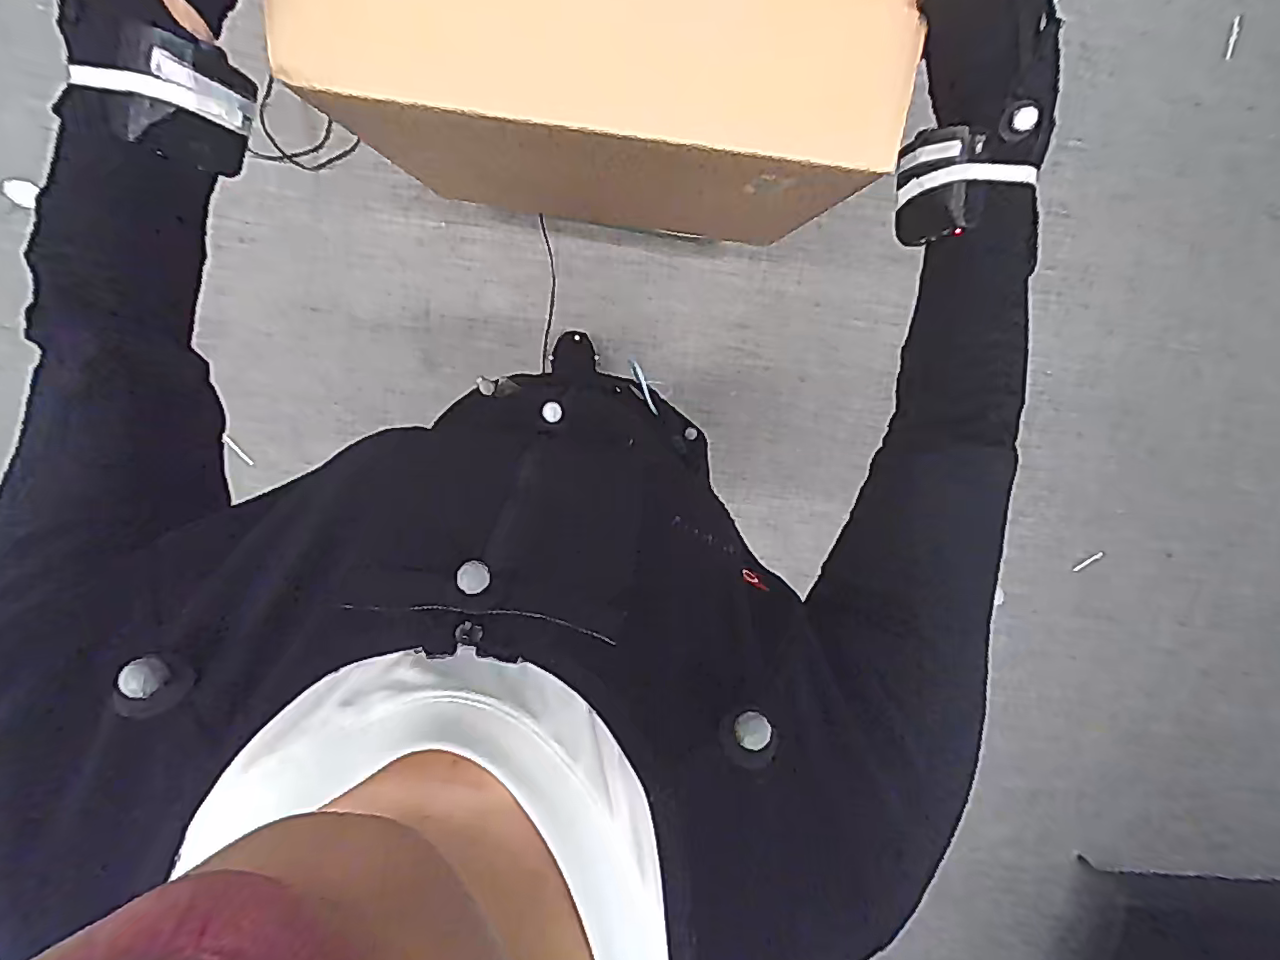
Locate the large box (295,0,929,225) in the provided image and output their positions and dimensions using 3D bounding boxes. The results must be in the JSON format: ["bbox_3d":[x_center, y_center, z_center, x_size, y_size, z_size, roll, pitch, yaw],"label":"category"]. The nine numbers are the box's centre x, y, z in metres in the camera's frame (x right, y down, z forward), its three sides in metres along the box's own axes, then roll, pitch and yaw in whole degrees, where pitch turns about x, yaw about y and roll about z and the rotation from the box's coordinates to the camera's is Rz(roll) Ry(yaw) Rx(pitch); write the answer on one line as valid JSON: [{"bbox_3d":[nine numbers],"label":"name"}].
[{"bbox_3d":[-0.011,-0.430,0.458,0.408,0.320,0.320,6,106,-4],"label":"large box"}]
